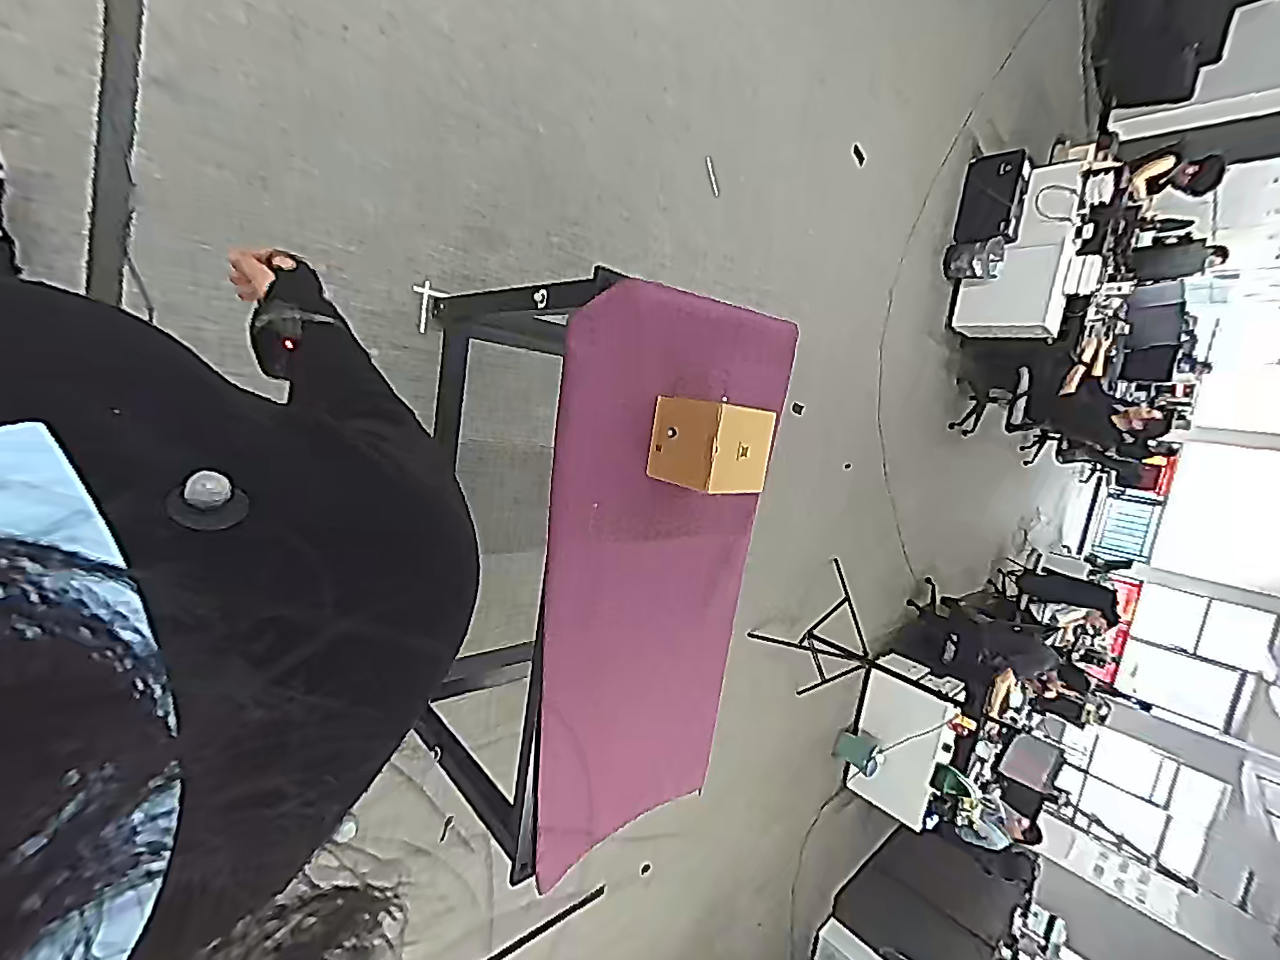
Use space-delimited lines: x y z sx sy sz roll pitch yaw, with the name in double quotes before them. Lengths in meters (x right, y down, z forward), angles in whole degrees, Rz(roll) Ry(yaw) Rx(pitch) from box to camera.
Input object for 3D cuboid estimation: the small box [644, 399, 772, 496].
"small box" 0.134 -0.067 1.092 0.179 0.176 0.168 0 102 -43
